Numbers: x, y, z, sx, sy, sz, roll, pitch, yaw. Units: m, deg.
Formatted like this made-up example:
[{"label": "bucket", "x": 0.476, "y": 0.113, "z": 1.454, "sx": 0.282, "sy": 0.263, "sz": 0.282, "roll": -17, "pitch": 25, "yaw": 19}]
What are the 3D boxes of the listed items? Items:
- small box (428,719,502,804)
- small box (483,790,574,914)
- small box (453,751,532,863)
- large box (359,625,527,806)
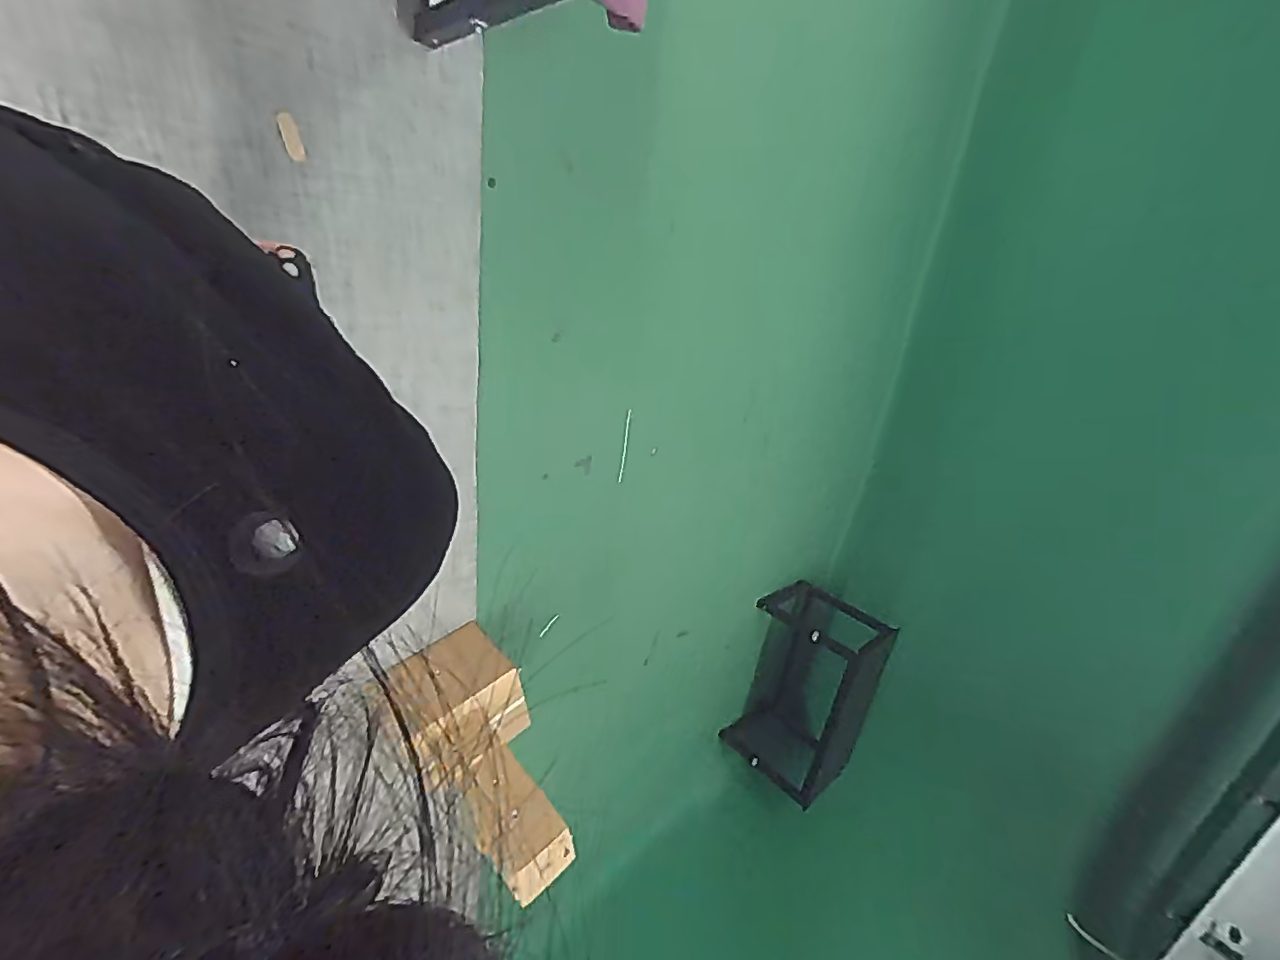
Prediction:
[{"label": "small box", "x": -0.526, "y": 0.870, "z": 1.656, "sx": 0.168, "sy": 0.176, "sz": 0.179, "roll": -27, "pitch": 128, "yaw": -35}, {"label": "small box", "x": -0.303, "y": 0.987, "z": 1.446, "sx": 0.179, "sy": 0.176, "sz": 0.168, "roll": -27, "pitch": 128, "yaw": -34}, {"label": "small box", "x": -0.417, "y": 0.930, "z": 1.550, "sx": 0.179, "sy": 0.176, "sz": 0.168, "roll": -28, "pitch": 128, "yaw": -34}, {"label": "large box", "x": -0.661, "y": 0.781, "z": 1.844, "sx": 0.408, "sy": 0.320, "sz": 0.320, "roll": -29, "pitch": 130, "yaw": -35}]
